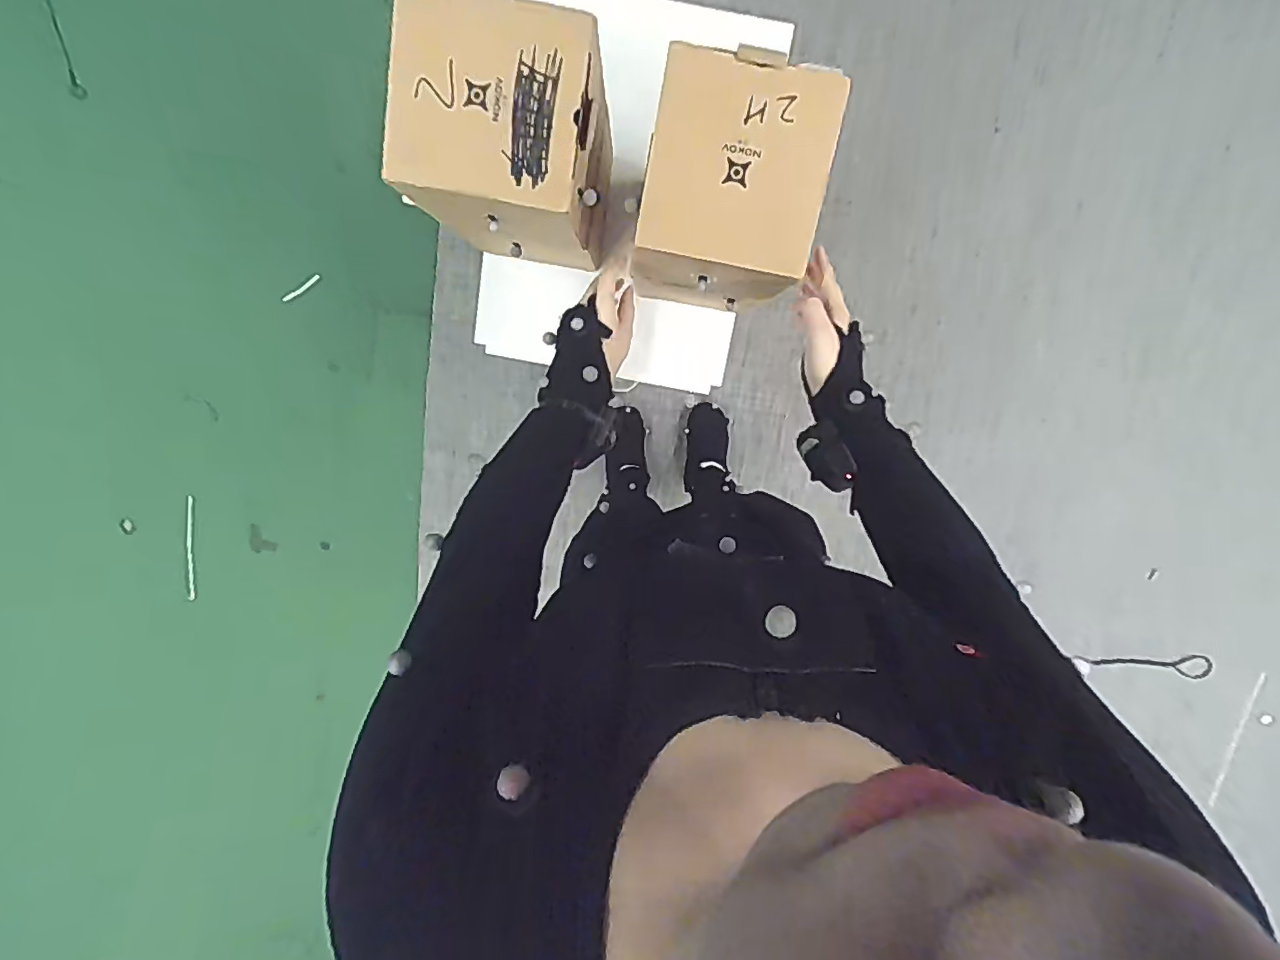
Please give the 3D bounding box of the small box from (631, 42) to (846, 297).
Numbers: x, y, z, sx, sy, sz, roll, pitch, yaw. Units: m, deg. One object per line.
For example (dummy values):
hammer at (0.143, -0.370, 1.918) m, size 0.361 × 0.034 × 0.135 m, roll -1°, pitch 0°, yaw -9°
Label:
small box at (0.089, -0.301, 0.569) m, size 0.168 × 0.176 × 0.179 m, roll 11°, pitch 101°, yaw -2°

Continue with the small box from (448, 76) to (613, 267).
small box at (-0.136, -0.392, 0.721) m, size 0.179 × 0.176 × 0.168 m, roll 9°, pitch 102°, yaw -3°
